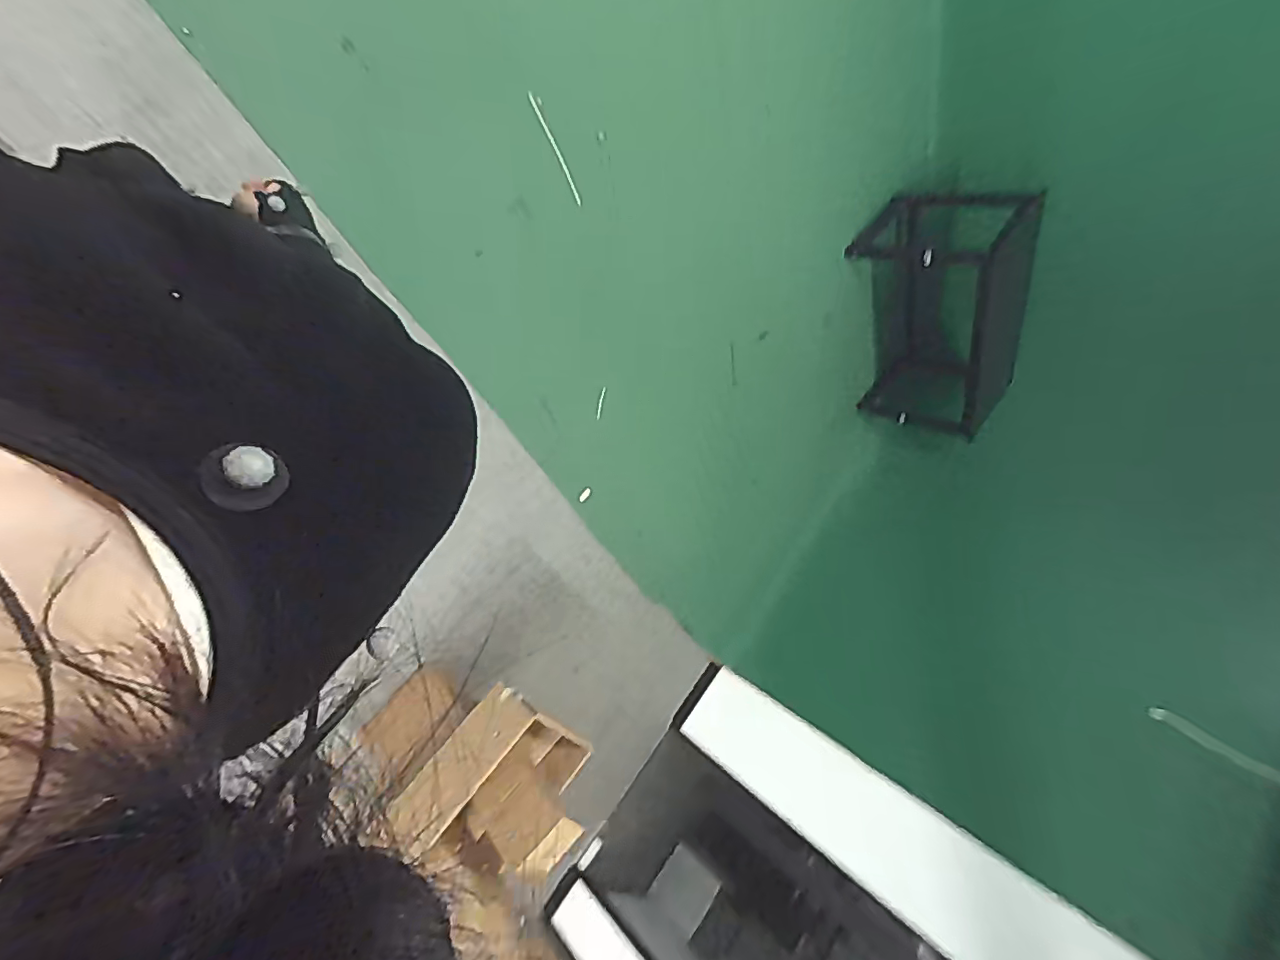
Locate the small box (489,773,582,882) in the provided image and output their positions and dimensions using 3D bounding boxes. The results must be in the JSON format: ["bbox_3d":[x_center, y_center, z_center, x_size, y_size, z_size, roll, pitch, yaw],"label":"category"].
[{"bbox_3d":[-0.300,0.973,1.520,0.179,0.176,0.168,-42,137,-20],"label":"small box"}]

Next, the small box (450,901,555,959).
[{"bbox_3d":[-0.344,1.197,1.334,0.179,0.176,0.168,-47,137,-20],"label":"small box"}]
